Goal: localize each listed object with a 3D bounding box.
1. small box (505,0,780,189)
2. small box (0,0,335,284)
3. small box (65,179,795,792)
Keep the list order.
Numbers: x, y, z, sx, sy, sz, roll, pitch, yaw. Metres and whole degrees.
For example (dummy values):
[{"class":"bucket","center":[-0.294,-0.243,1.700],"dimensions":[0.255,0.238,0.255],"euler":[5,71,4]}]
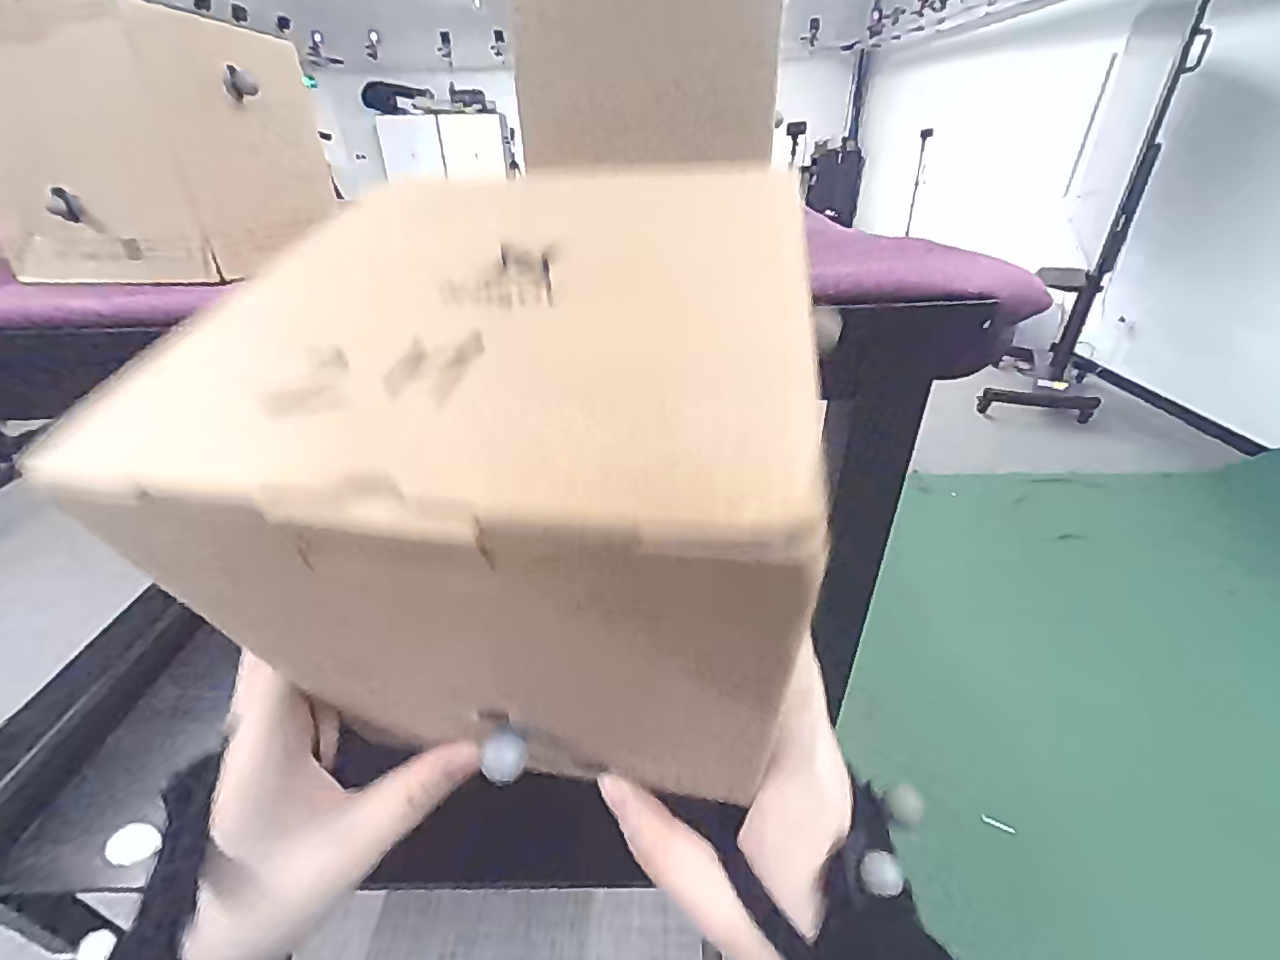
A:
[{"class":"small box","center":[0.008,-0.269,0.417],"dimensions":[0.168,0.176,0.179],"euler":[1,34,6]},{"class":"small box","center":[-0.378,-0.263,0.432],"dimensions":[0.168,0.176,0.179],"euler":[1,32,4]},{"class":"small box","center":[-0.031,-0.001,0.221],"dimensions":[0.168,0.176,0.179],"euler":[3,48,11]}]
